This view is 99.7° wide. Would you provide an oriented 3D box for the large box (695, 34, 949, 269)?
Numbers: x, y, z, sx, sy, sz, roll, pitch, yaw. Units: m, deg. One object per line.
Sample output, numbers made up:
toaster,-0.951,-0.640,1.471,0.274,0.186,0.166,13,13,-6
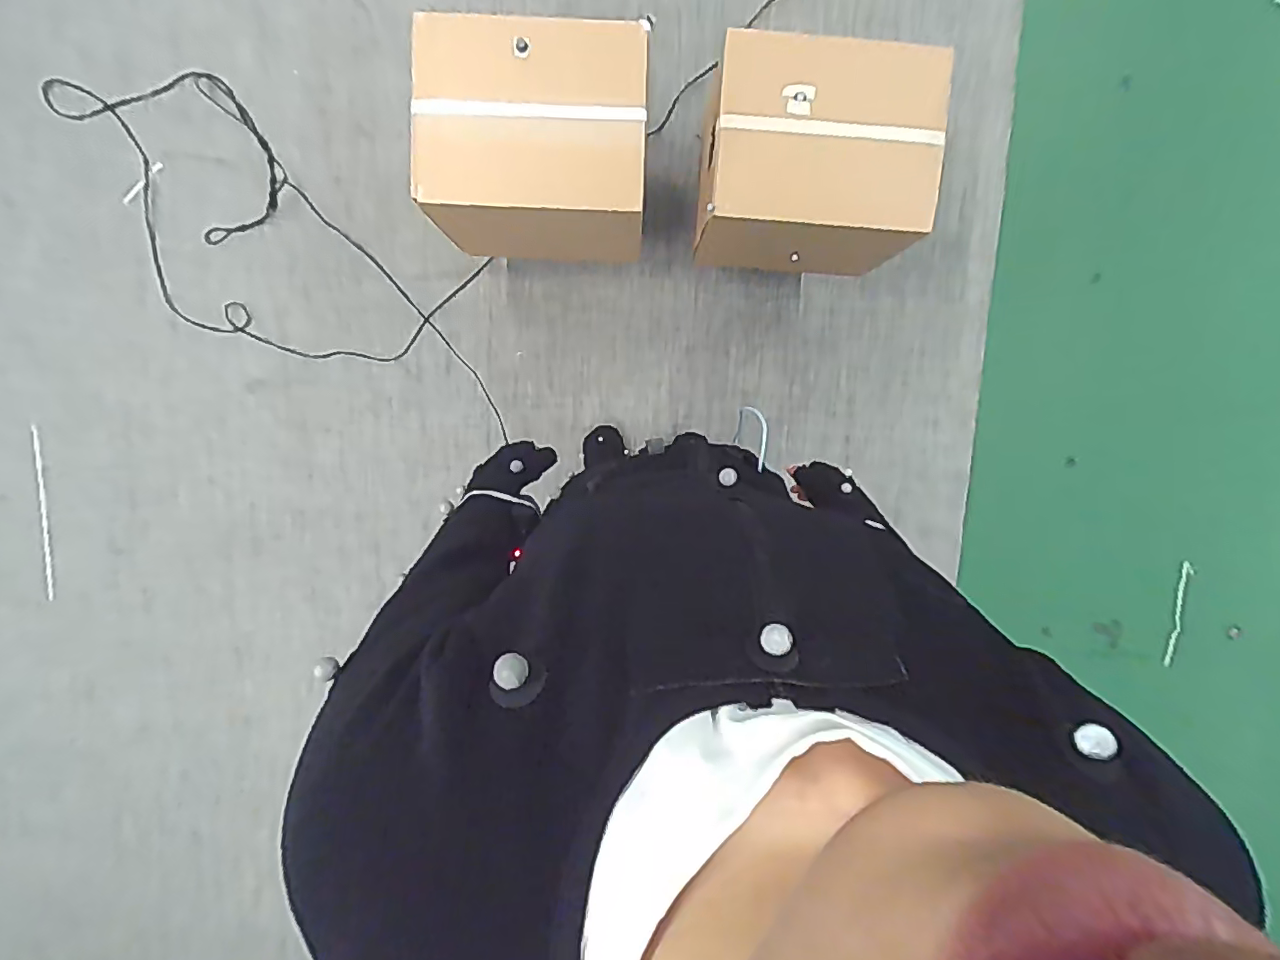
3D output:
large box,0.340,-0.638,1.114,0.408,0.320,0.320,4,96,-1
